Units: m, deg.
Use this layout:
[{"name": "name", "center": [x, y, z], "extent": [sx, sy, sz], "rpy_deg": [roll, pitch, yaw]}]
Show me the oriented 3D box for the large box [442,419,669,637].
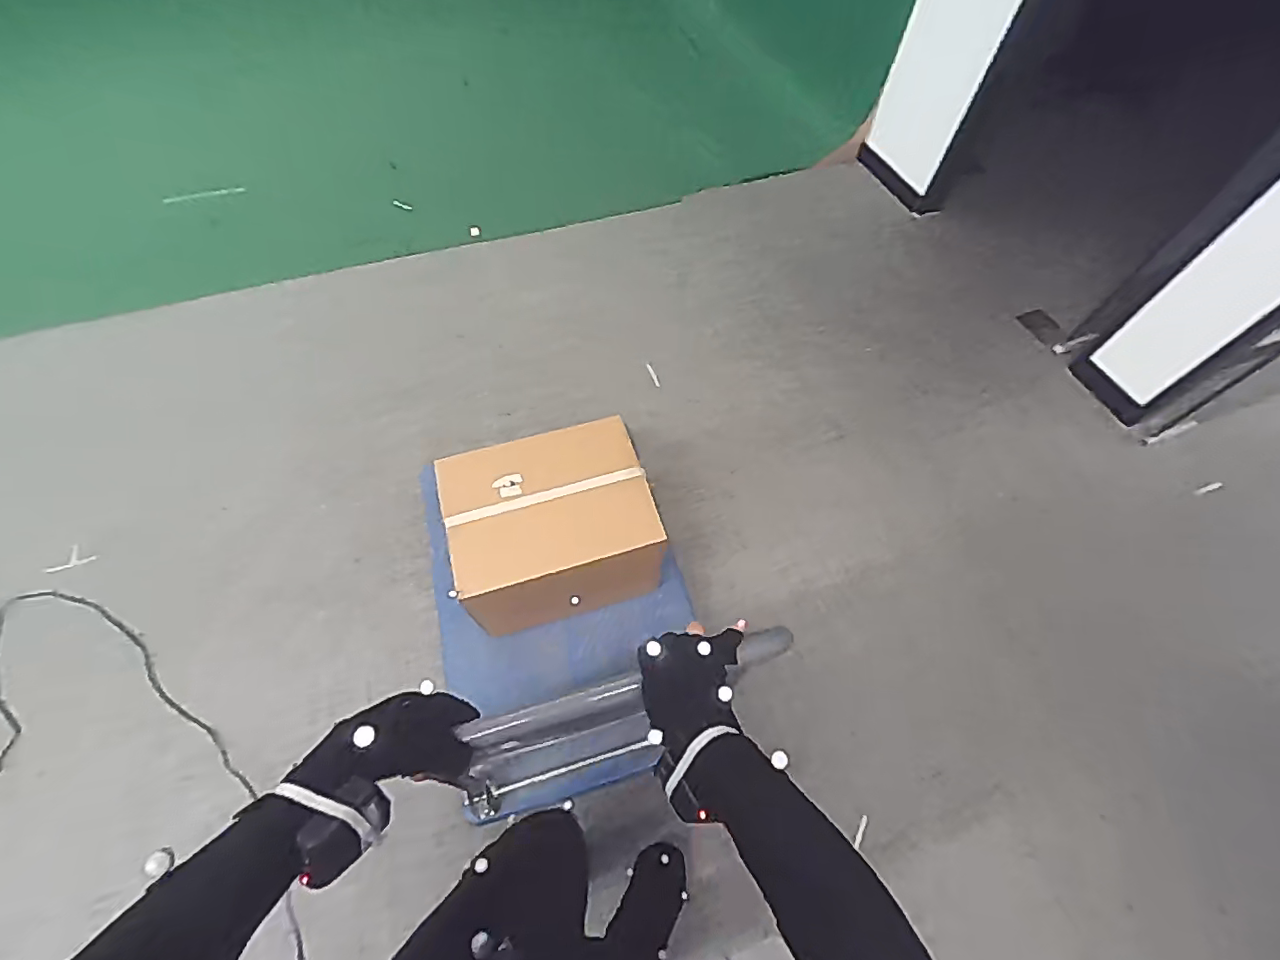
[{"name": "large box", "center": [-0.179, 0.116, 1.218], "extent": [0.408, 0.320, 0.320], "rpy_deg": [-16, 62, -10]}]
